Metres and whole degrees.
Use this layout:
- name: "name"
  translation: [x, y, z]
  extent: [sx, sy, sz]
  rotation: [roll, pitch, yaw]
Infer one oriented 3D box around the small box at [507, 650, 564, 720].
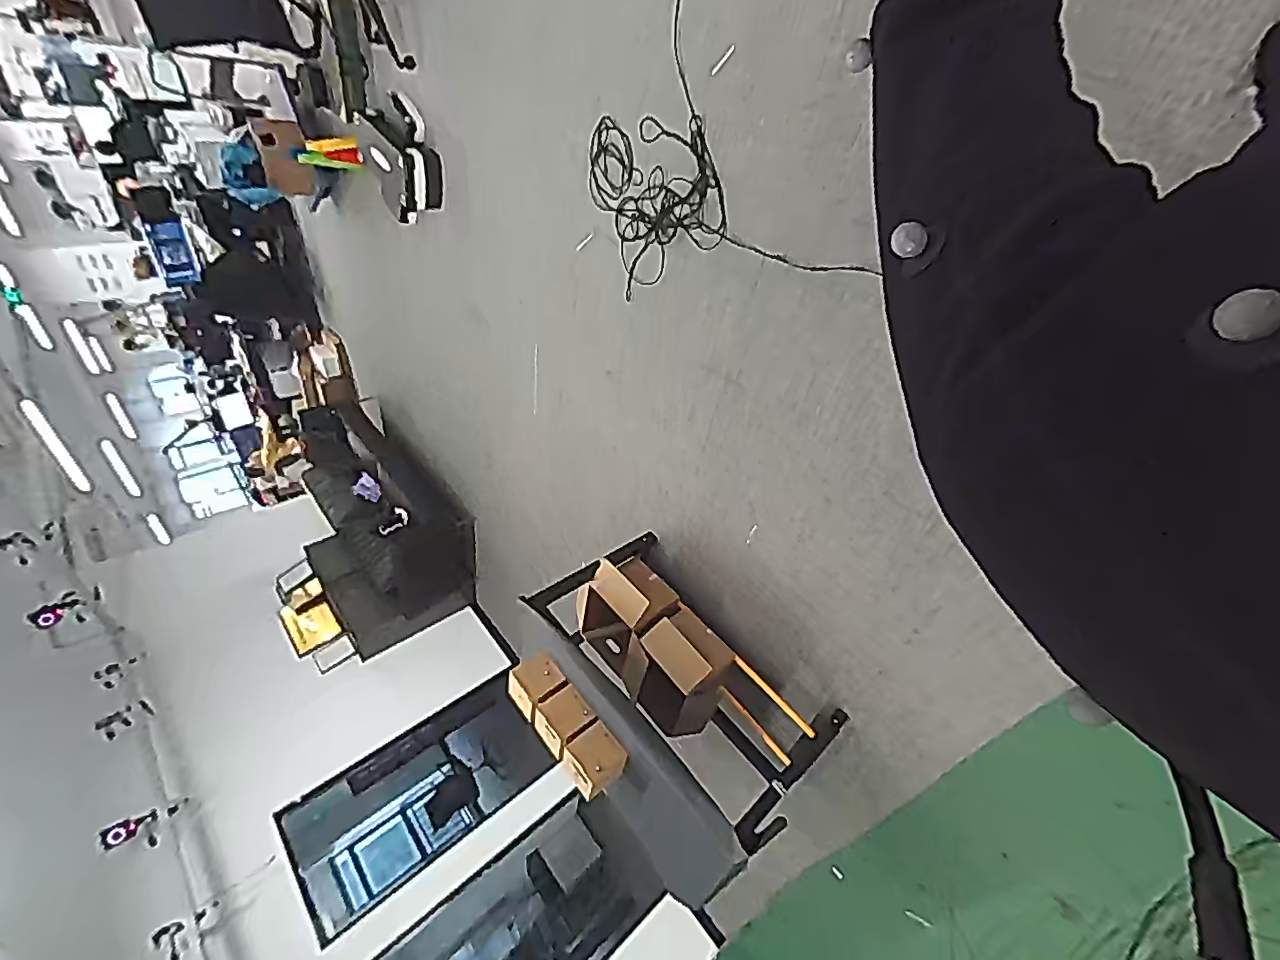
- name: "small box"
  translation: [-0.429, 0.840, 2.224]
  extent: [0.168, 0.176, 0.179]
  rotation: [41, 138, 29]
